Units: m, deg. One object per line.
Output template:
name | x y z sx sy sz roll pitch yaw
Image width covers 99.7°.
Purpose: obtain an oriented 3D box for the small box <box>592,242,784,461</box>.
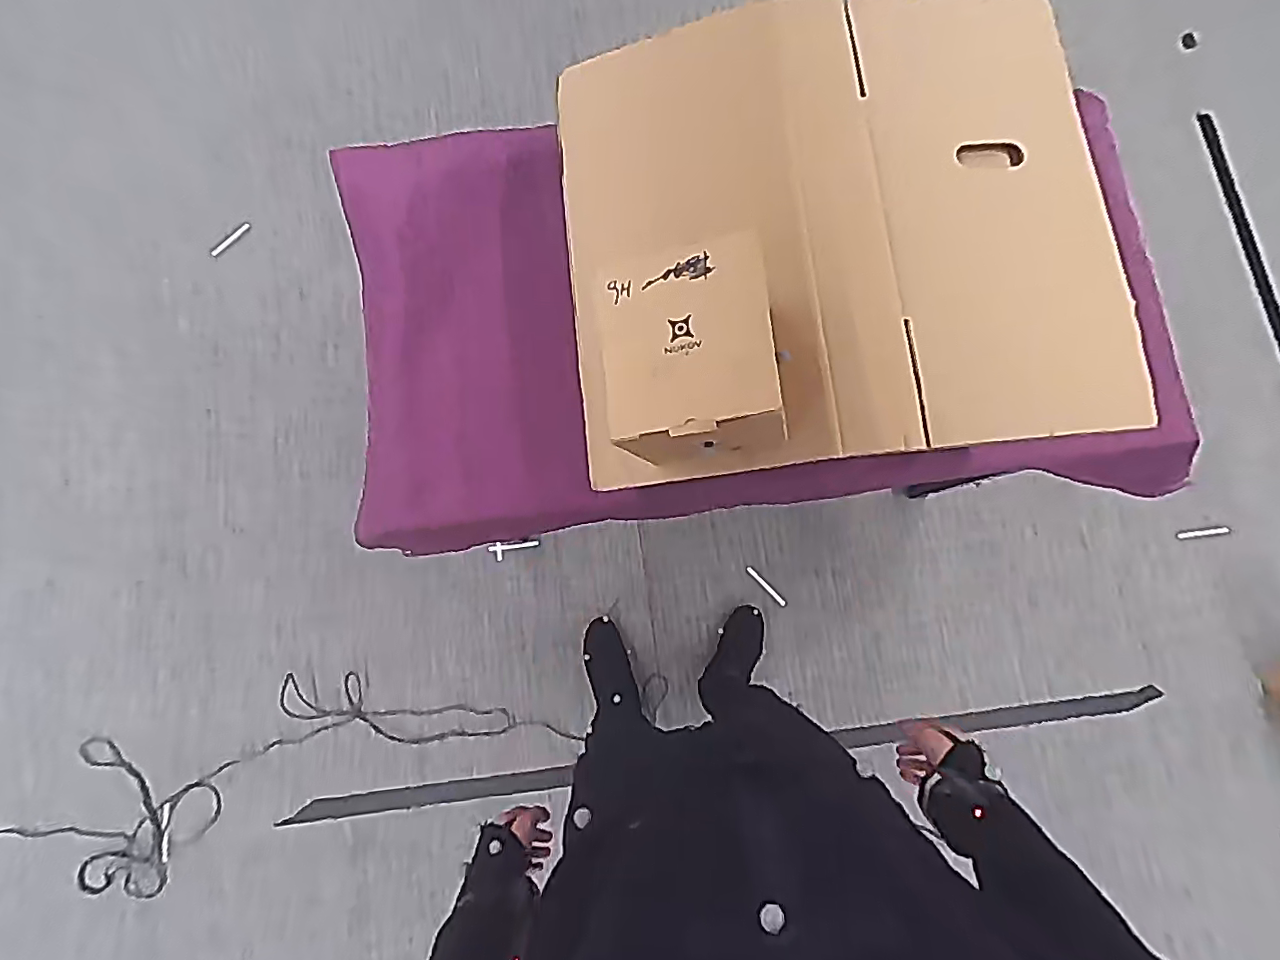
small box | 0.061 -0.119 0.589 0.168 0.176 0.179 -8 82 16
